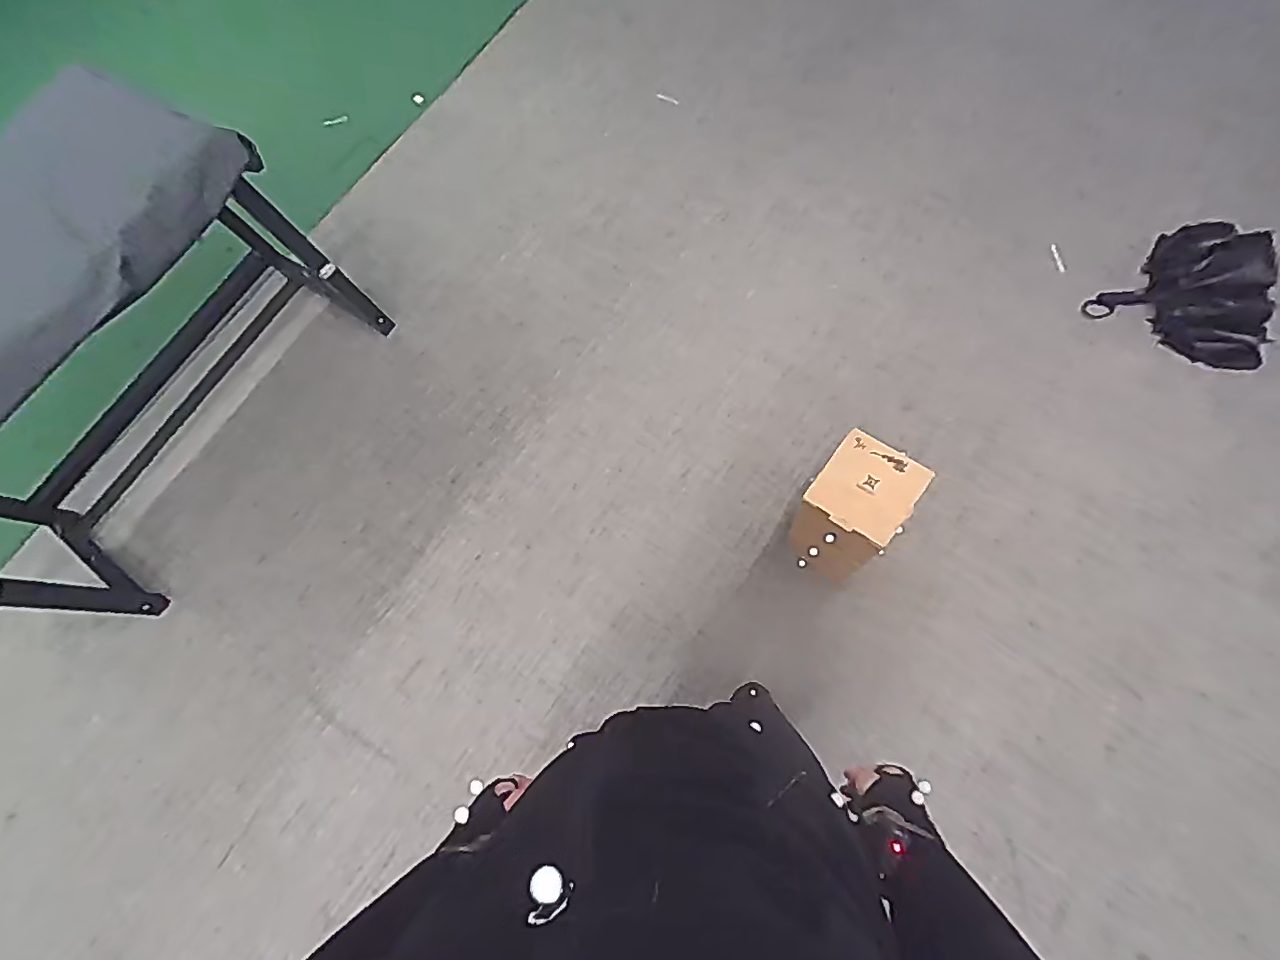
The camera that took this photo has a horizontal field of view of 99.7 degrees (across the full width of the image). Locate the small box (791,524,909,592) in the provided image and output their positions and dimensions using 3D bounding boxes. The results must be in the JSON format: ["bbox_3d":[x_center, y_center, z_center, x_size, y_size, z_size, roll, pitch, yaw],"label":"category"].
[{"bbox_3d":[0.458,0.127,1.214,0.179,0.176,0.168,-43,69,-6],"label":"small box"}]

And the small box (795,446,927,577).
[{"bbox_3d":[0.422,0.070,1.065,0.168,0.176,0.179,36,80,19],"label":"small box"}]
